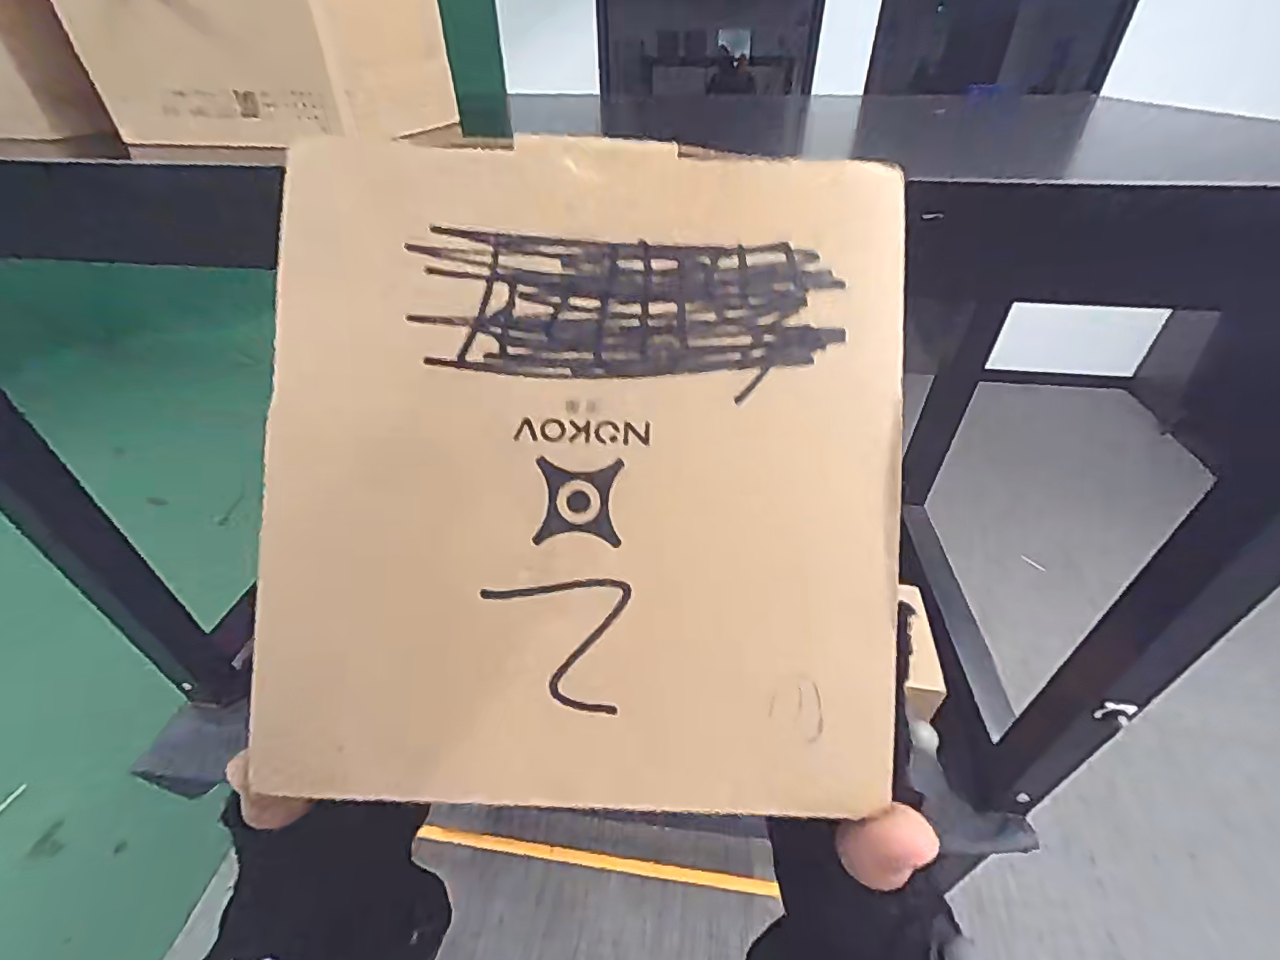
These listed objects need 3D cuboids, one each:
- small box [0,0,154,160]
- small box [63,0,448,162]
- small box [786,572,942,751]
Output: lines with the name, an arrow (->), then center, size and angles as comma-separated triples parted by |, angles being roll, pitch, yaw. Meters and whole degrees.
small box -> -0.477, -0.358, 0.414 | 0.168, 0.176, 0.179 | 5, 39, 7
small box -> -0.256, -0.329, 0.378 | 0.168, 0.176, 0.179 | 5, 38, 7
small box -> 0.311, 0.265, 0.790 | 0.168, 0.176, 0.179 | 7, 38, 9
